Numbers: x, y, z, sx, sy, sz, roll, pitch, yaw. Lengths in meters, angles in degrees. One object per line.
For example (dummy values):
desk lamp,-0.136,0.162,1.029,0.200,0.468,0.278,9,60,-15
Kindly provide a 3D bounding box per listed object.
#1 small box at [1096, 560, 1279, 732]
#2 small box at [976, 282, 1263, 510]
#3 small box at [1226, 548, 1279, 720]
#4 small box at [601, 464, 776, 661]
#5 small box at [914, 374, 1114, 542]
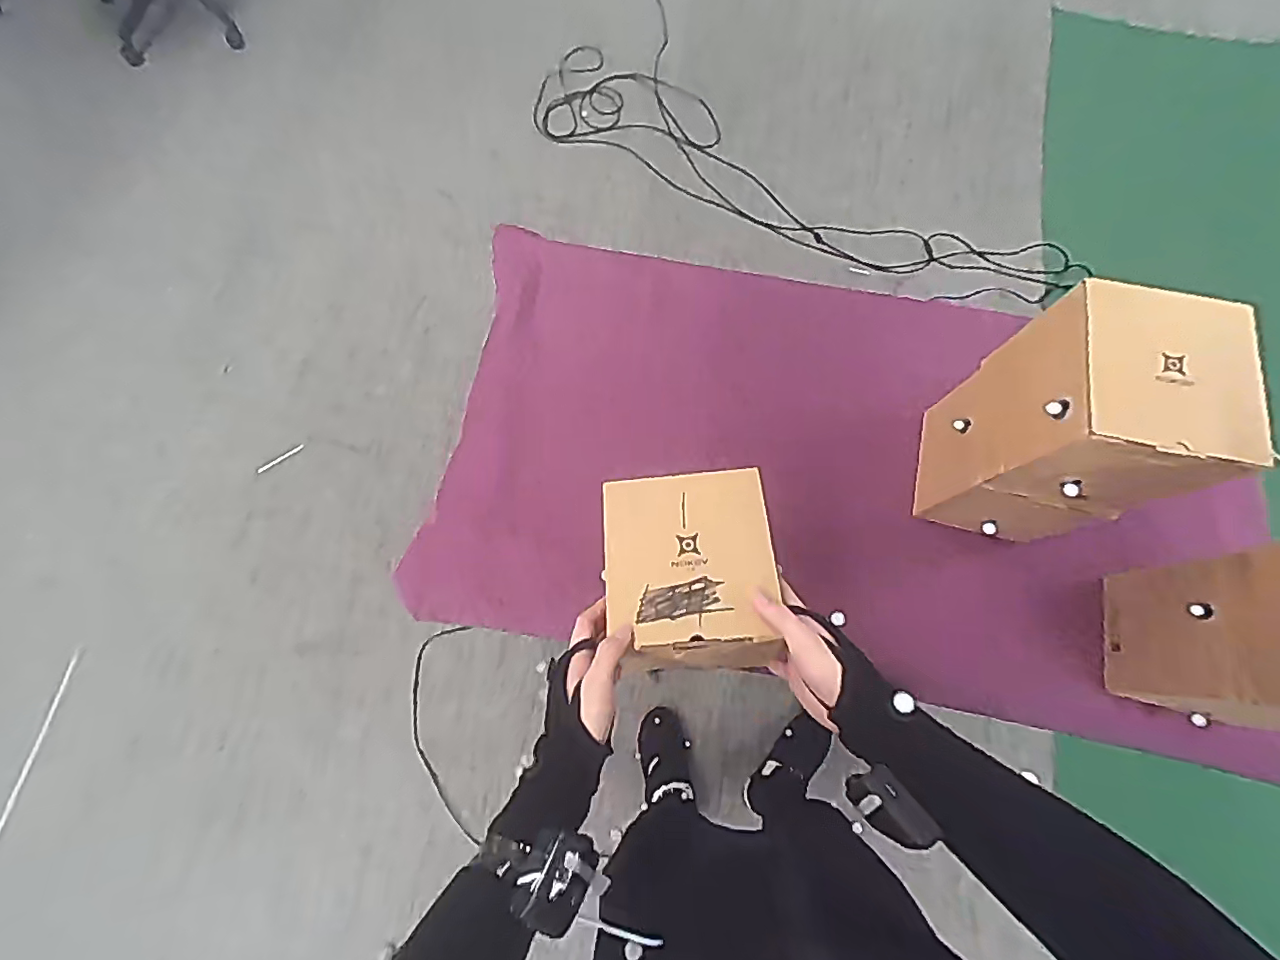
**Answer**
small box,0.731,0.211,0.680,0.179,0.176,0.168,14,73,3
small box,0.501,-0.080,0.593,0.168,0.176,0.179,11,75,2
small box,0.736,0.160,0.524,0.168,0.176,0.179,14,73,5
small box,0.051,0.102,0.604,0.168,0.176,0.179,-5,62,4
small box,0.504,-0.028,0.747,0.168,0.176,0.179,14,74,4
